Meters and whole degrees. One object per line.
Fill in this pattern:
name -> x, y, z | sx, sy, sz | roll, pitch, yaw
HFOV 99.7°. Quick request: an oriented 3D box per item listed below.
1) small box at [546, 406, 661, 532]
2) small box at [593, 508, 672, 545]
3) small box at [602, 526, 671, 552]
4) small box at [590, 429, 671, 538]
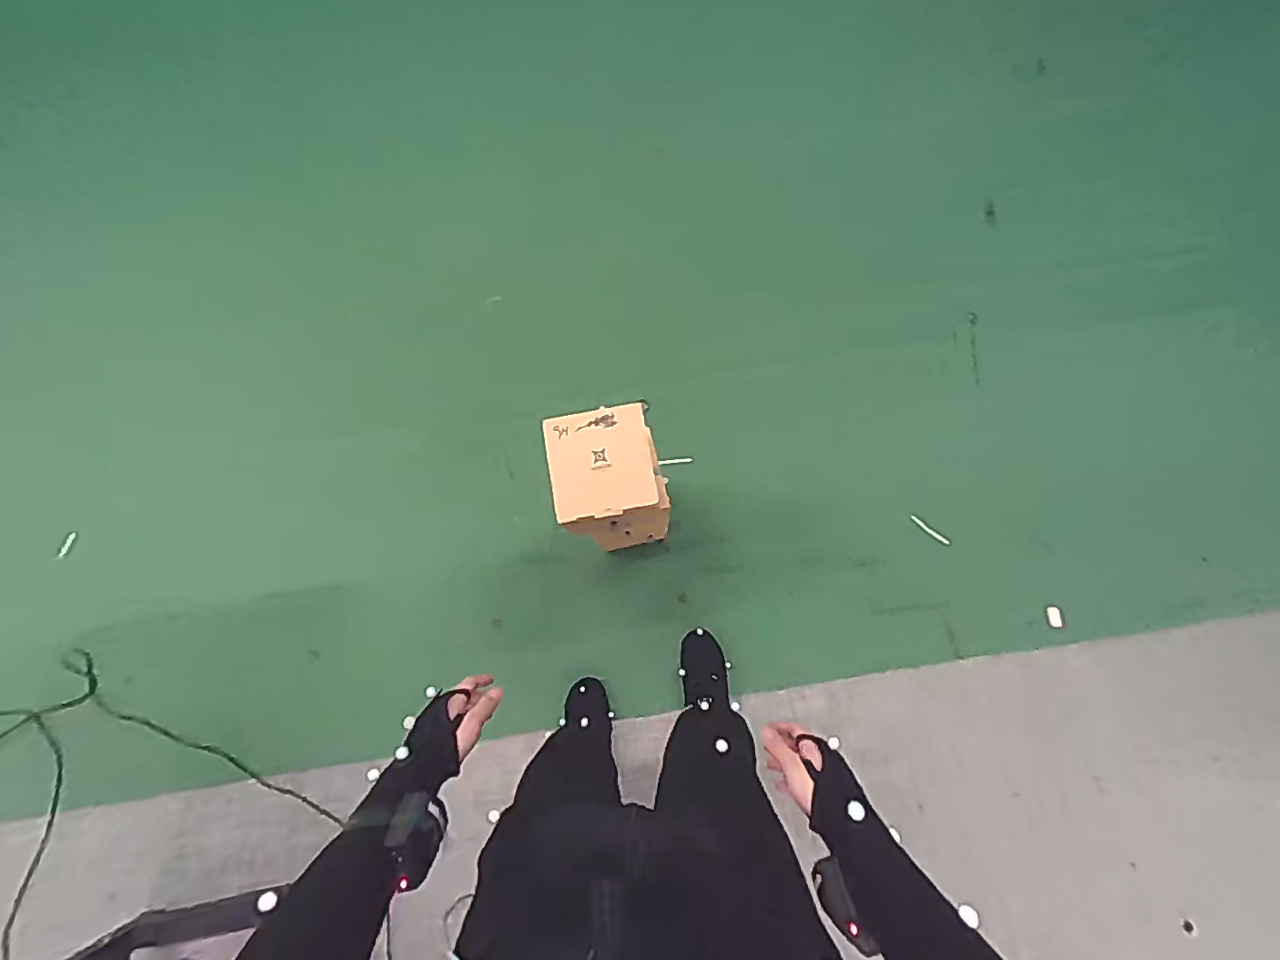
small box -> -0.057, -0.009, 0.939 | 0.168, 0.176, 0.179 | -10, 78, 0
small box -> -0.028, 0.050, 1.260 | 0.179, 0.176, 0.168 | -11, 76, 0
small box -> -0.023, 0.087, 1.418 | 0.179, 0.176, 0.168 | -13, 76, -1
small box -> -0.039, 0.015, 1.101 | 0.179, 0.176, 0.168 | -13, 77, -2
